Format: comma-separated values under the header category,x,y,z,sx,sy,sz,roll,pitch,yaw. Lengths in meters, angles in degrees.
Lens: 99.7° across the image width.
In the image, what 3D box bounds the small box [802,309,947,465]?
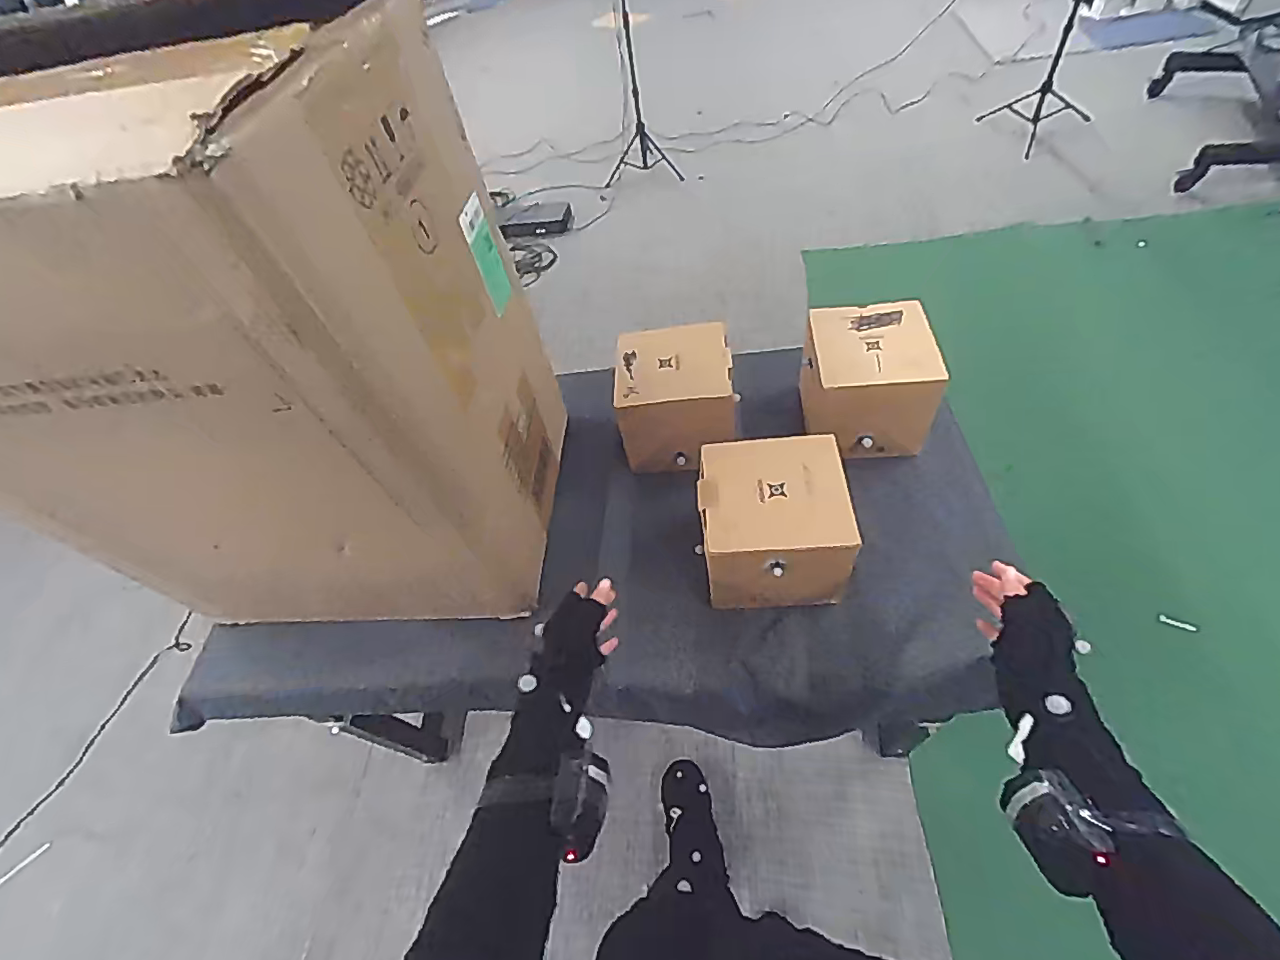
category,x,y,z,sx,sy,sz,roll,pitch,yaw
small box,0.356,-0.144,0.859,0.168,0.176,0.179,-3,54,9
